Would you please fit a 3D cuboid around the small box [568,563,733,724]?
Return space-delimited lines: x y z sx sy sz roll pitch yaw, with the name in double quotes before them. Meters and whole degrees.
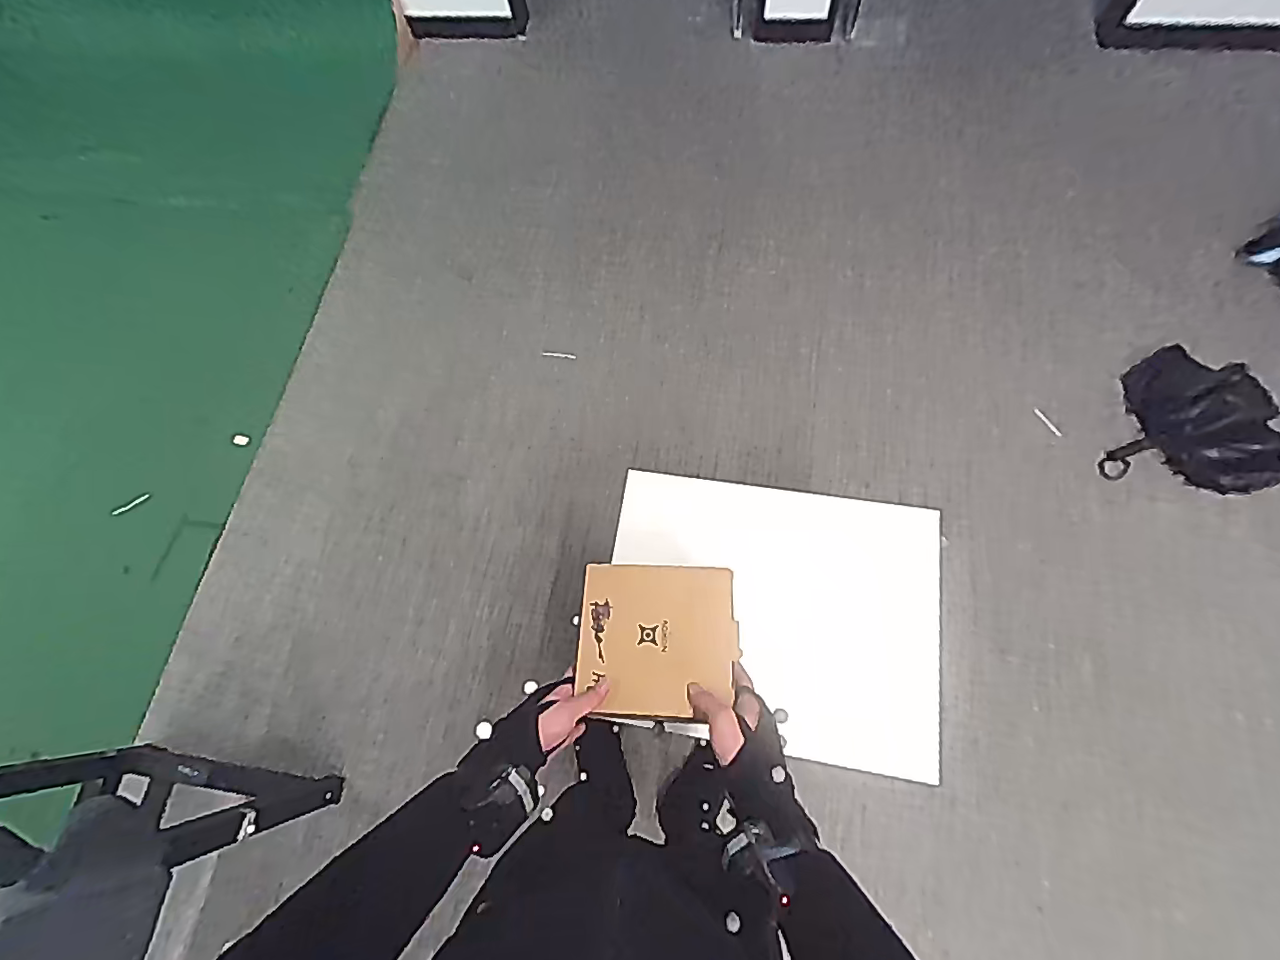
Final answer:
"small box" 0.020 0.208 0.673 0.179 0.176 0.168 2 65 5
